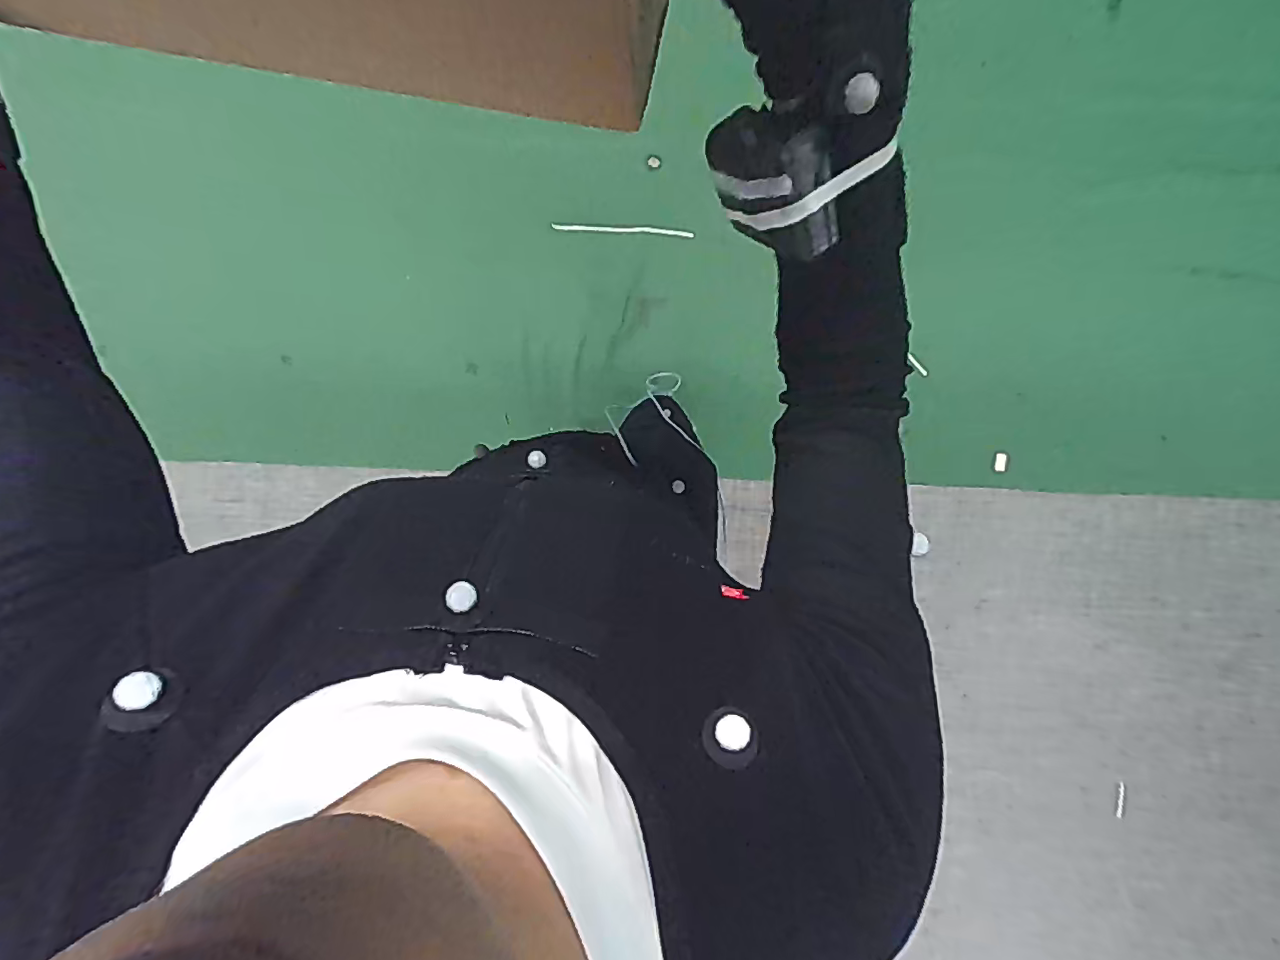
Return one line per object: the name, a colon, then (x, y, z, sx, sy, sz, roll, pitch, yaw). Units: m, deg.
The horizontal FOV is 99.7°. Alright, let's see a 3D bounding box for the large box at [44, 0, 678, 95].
large box: (-0.161, -0.388, 0.153, 0.408, 0.320, 0.320, 12, 94, 2)
